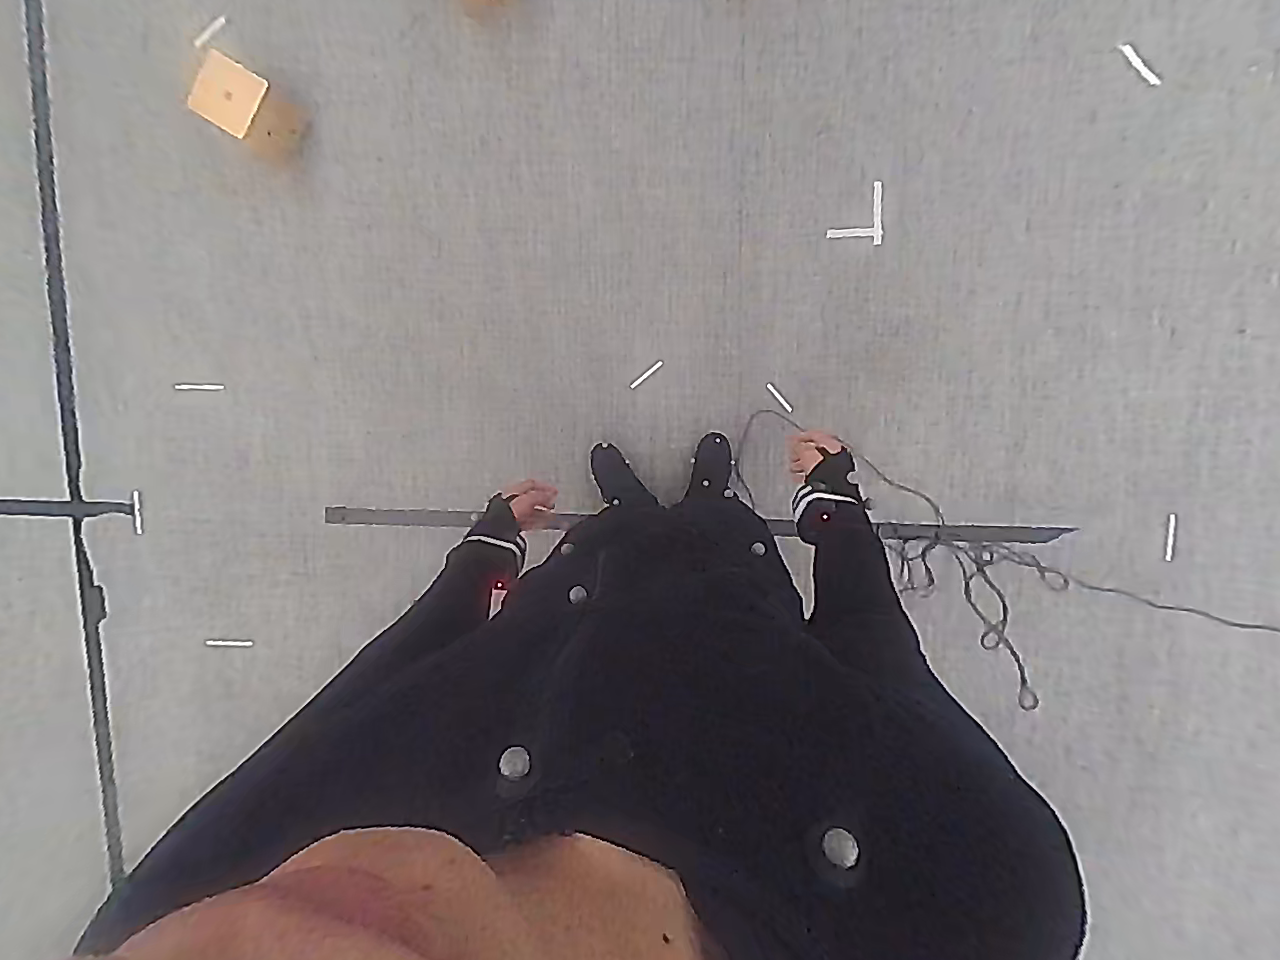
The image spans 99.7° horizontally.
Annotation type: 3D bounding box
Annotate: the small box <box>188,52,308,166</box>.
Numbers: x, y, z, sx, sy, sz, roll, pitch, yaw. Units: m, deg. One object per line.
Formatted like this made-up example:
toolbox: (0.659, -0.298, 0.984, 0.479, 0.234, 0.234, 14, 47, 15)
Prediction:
small box: (-1.067, -1.005, 1.488, 0.179, 0.176, 0.168, 31, 96, -1)
